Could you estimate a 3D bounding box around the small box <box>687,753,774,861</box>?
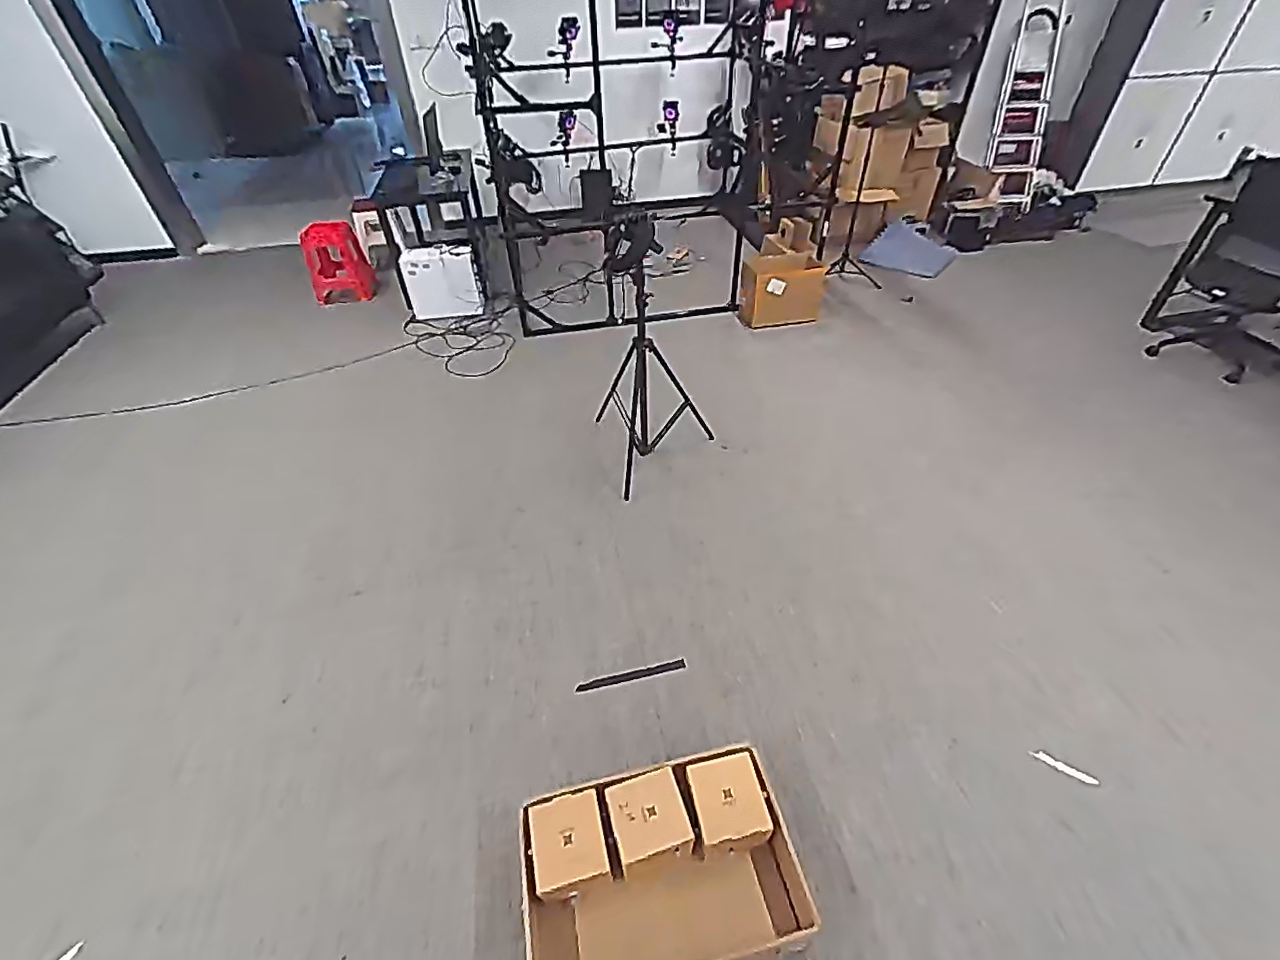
[{"bbox_3d":[0.218,0.819,1.354,0.168,0.176,0.179,-11,45,-7],"label":"small box"}]
